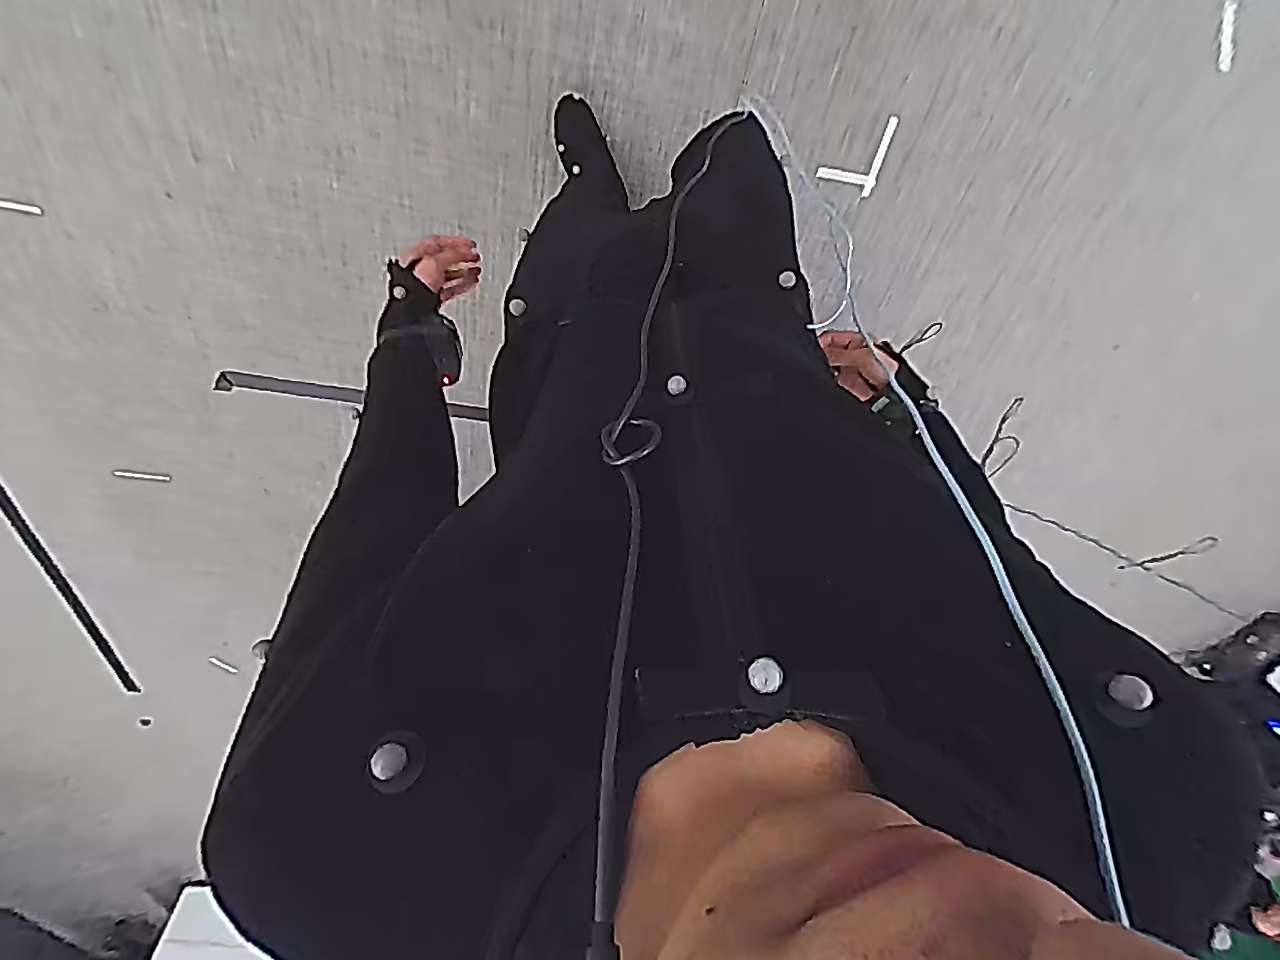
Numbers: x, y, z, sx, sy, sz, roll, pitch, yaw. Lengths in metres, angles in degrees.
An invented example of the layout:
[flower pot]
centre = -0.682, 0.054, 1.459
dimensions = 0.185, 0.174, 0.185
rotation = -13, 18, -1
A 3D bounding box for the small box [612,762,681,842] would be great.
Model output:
[small box]
centre = 0.012, 0.990, 1.667
dimensions = 0.179, 0.176, 0.168
rotation = 8, 128, -13
